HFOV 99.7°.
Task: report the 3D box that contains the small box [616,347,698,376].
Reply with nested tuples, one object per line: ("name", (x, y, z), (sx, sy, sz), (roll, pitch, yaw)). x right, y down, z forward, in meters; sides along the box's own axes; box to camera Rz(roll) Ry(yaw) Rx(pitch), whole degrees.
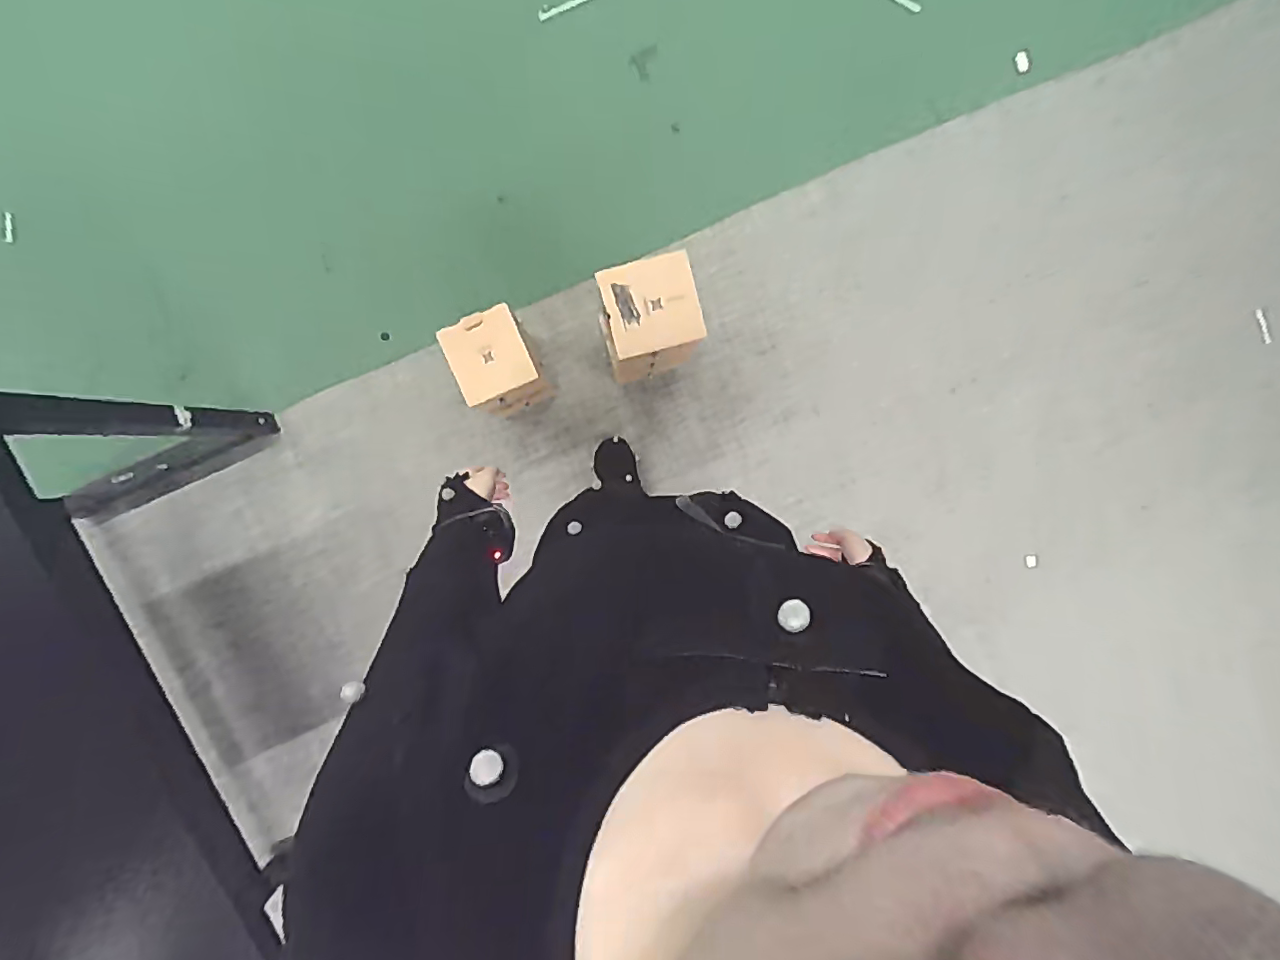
("small box", (0.022, -0.338, 1.220), (0.179, 0.176, 0.168), (-13, 96, -2))

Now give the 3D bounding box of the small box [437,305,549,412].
("small box", (-0.319, -0.262, 1.213), (0.168, 0.176, 0.179), (-24, 93, 0))

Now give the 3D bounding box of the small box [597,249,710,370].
("small box", (0.023, -0.322, 1.057), (0.179, 0.176, 0.168), (-15, 95, -2))
